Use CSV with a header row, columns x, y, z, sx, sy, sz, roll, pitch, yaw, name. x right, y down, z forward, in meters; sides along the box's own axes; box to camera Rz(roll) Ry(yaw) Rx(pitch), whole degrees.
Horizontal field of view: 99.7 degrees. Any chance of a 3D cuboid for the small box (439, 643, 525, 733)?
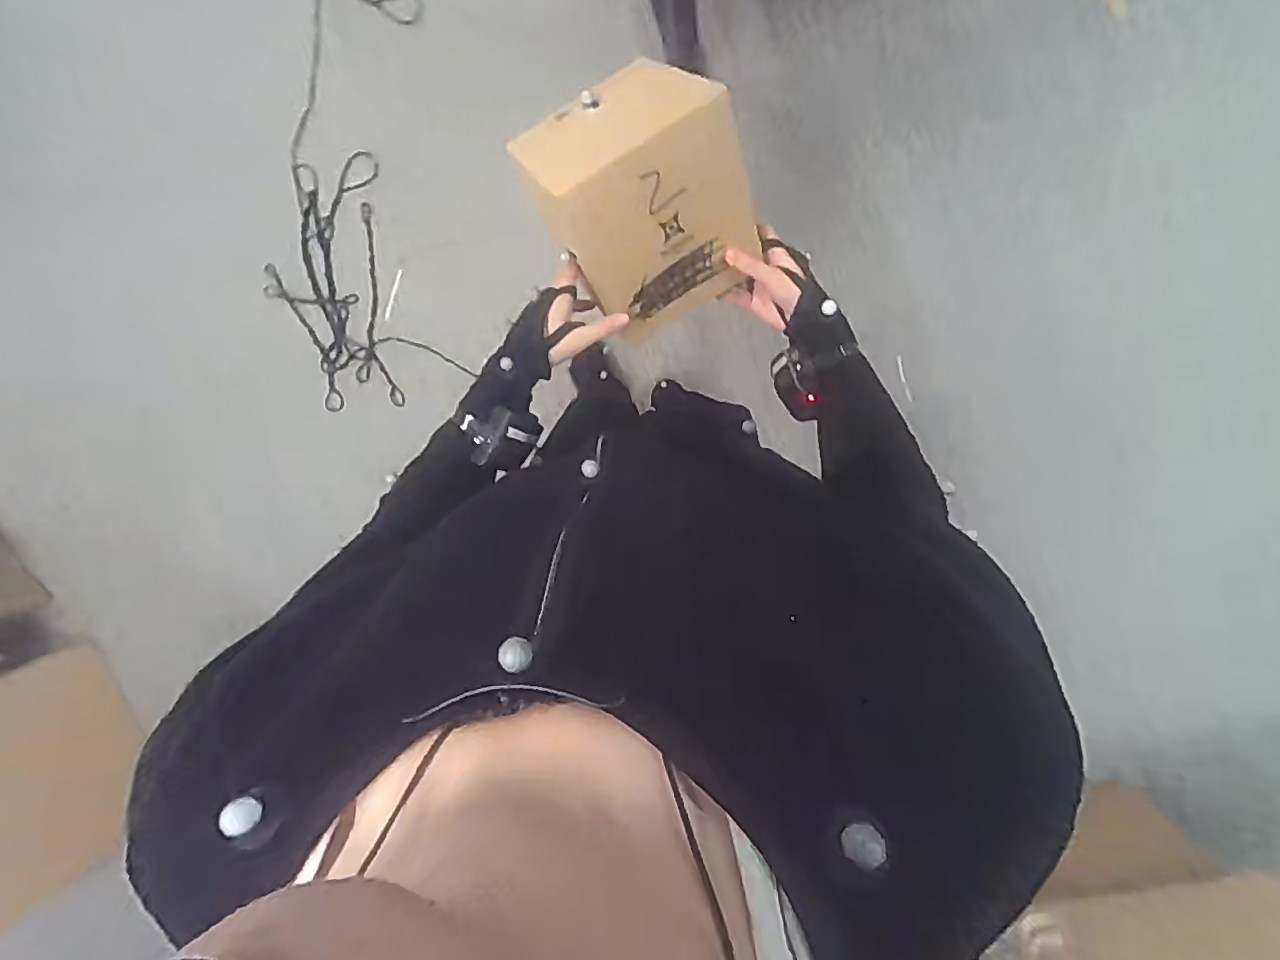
x,y,z,sx,sy,sz,roll,pitch,yaw,name
-0.468,0.608,1.608,0.168,0.176,0.179,-19,99,11,small box
